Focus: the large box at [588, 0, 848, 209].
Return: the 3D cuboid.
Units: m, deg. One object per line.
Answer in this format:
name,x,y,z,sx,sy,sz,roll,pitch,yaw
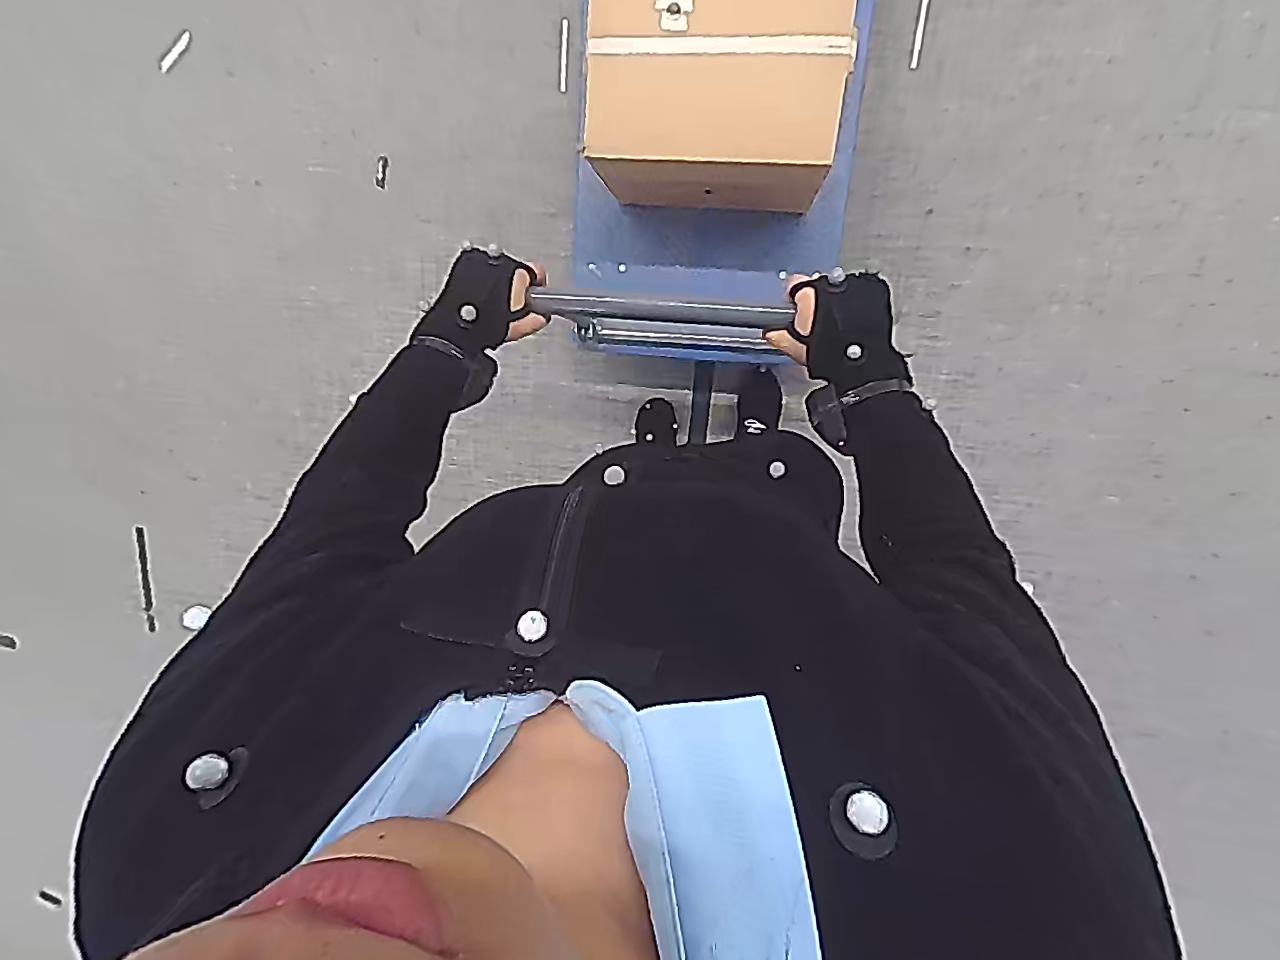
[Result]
large box,0.141,-0.704,0.998,0.408,0.320,0.320,6,103,9
